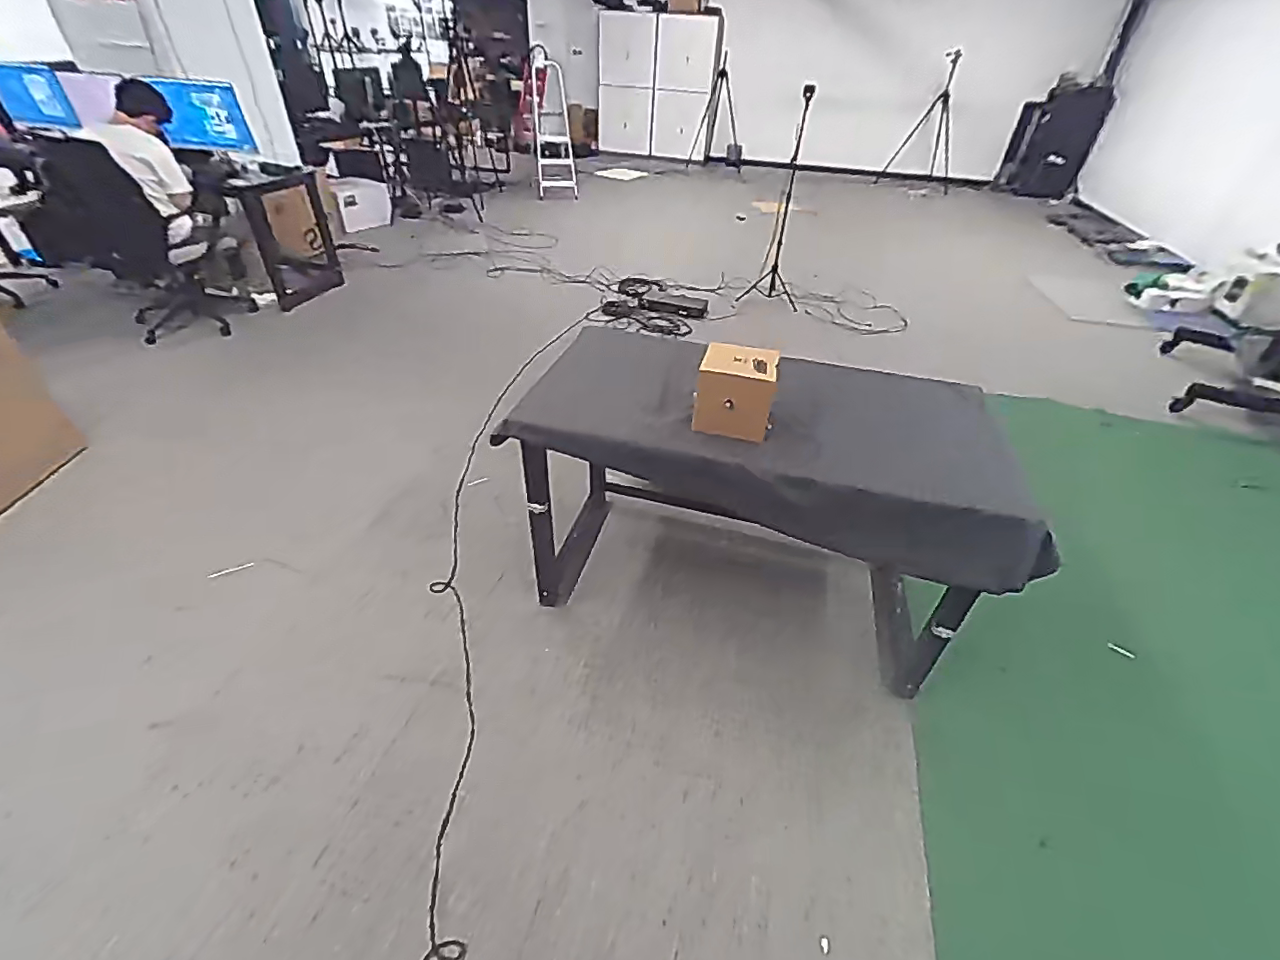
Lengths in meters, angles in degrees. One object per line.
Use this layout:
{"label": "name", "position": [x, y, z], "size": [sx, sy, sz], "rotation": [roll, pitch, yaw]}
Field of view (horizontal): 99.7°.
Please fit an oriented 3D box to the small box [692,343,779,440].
{"label": "small box", "position": [0.233, -0.215, 1.326], "size": [0.179, 0.176, 0.168], "rotation": [11, 39, 11]}
